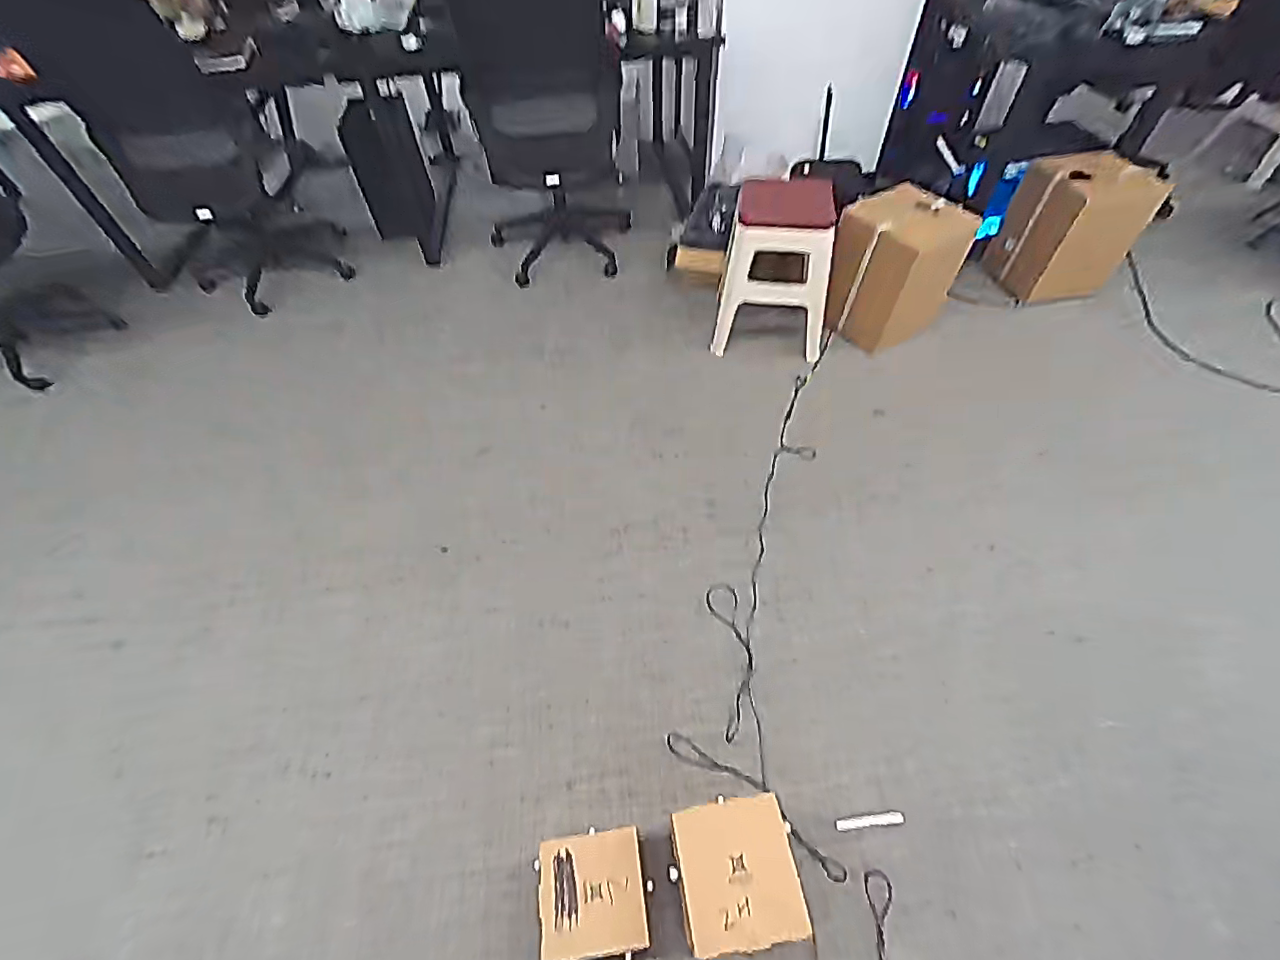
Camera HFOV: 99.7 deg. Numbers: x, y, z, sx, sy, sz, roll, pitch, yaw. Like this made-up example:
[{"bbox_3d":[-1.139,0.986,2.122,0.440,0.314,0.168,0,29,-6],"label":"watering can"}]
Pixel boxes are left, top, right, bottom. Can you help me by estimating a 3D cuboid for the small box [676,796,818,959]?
[{"bbox_3d":[0.150,0.612,0.833,0.168,0.176,0.179,-9,53,-4],"label":"small box"}]
